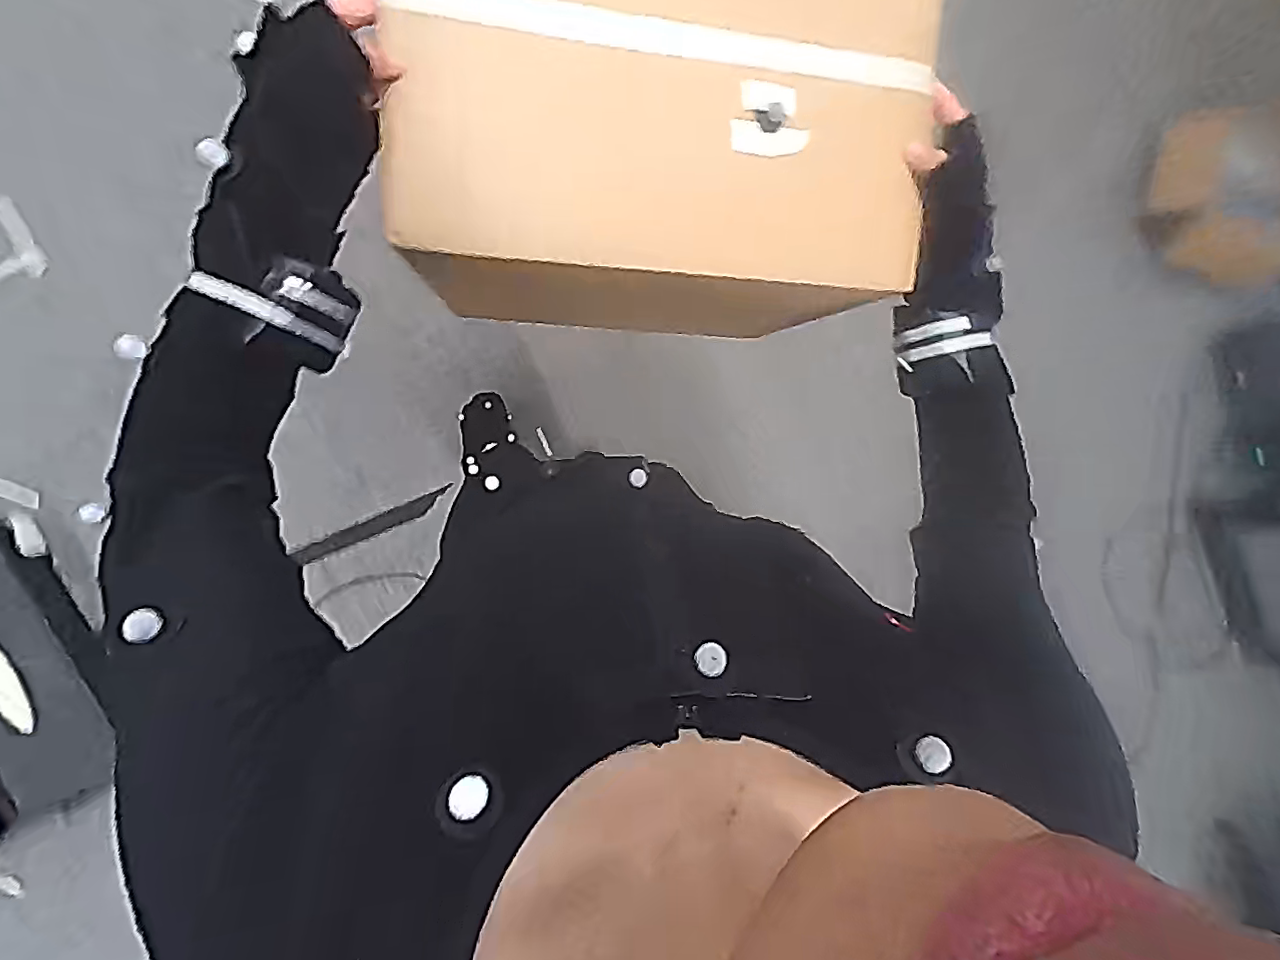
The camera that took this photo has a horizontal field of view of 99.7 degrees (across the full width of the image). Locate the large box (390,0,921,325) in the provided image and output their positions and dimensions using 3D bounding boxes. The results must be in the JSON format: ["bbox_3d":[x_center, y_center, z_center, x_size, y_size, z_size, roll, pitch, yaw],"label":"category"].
[{"bbox_3d":[-0.005,-0.339,0.543,0.408,0.320,0.320,-1,98,-12],"label":"large box"}]
